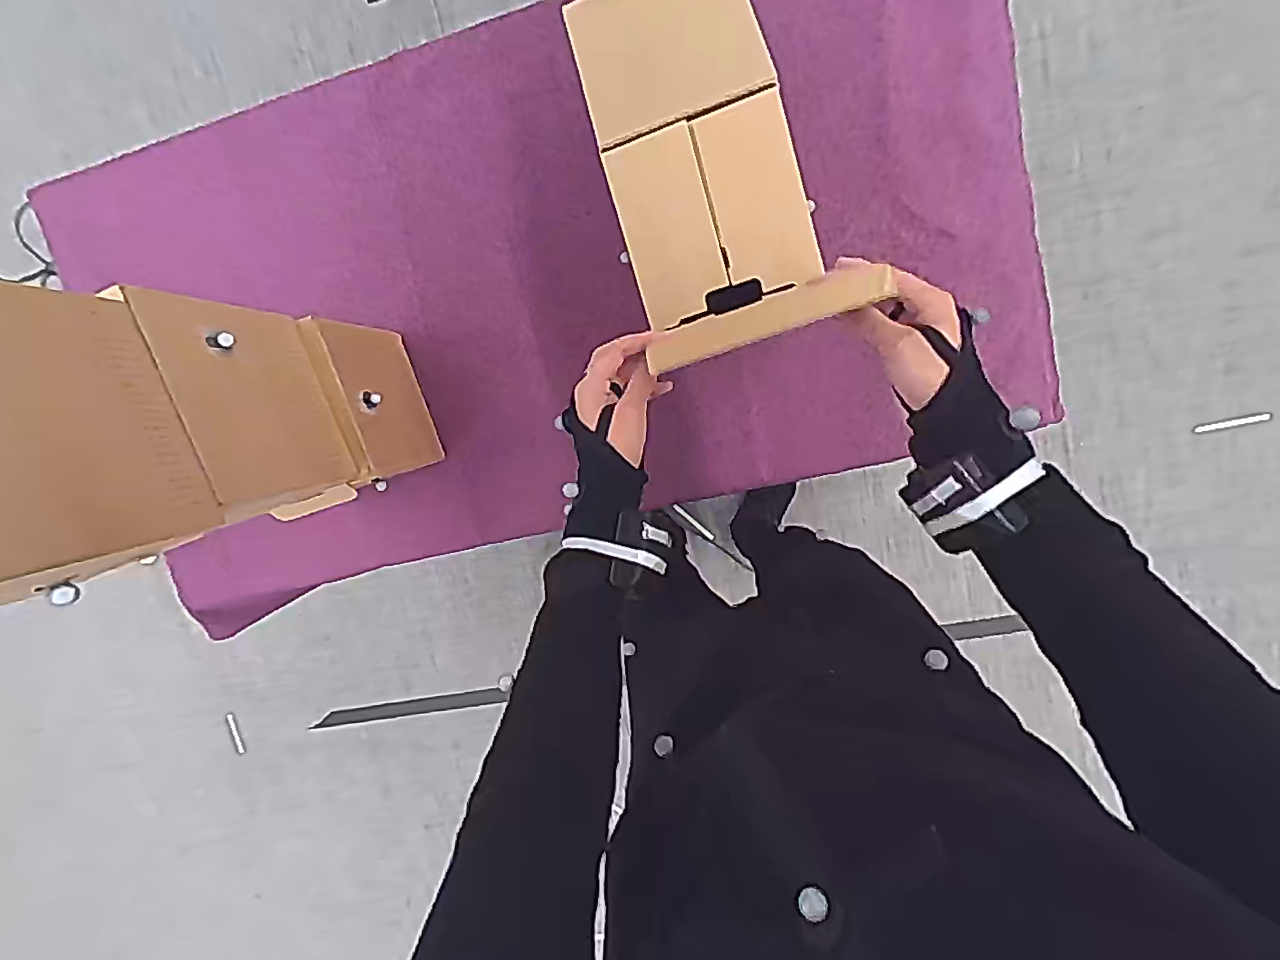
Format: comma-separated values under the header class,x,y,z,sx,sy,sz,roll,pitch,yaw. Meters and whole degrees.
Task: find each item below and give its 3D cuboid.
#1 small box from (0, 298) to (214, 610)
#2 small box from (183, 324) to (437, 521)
class,x,y,z,sx,sy,sz,roll,pitch,yaw
small box,-0.424,-0.006,0.329,0.168,0.176,0.179,-19,96,10
small box,-0.374,-0.071,0.649,0.168,0.176,0.179,-17,97,9
